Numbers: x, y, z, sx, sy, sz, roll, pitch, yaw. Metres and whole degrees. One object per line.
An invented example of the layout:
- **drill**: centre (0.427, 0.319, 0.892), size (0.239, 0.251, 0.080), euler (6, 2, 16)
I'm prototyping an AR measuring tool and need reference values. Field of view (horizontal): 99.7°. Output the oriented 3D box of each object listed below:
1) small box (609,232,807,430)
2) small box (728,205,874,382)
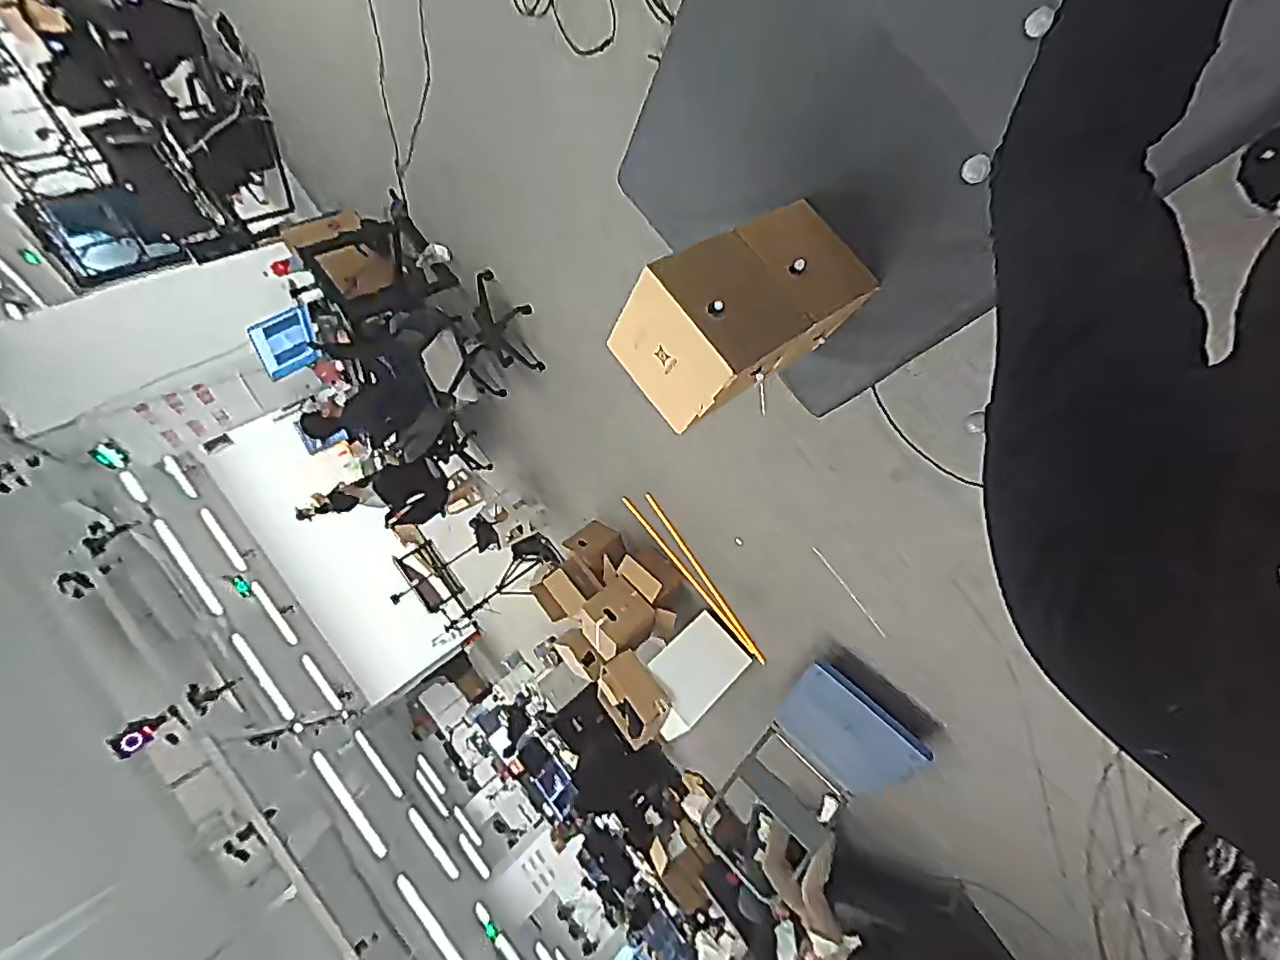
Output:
- **small box**: centre (0.092, -0.205, 0.742), size (0.179, 0.176, 0.168), euler (52, 150, 5)
- **small box**: centre (0.210, -0.286, 0.821), size (0.179, 0.176, 0.168), euler (51, 151, 6)
